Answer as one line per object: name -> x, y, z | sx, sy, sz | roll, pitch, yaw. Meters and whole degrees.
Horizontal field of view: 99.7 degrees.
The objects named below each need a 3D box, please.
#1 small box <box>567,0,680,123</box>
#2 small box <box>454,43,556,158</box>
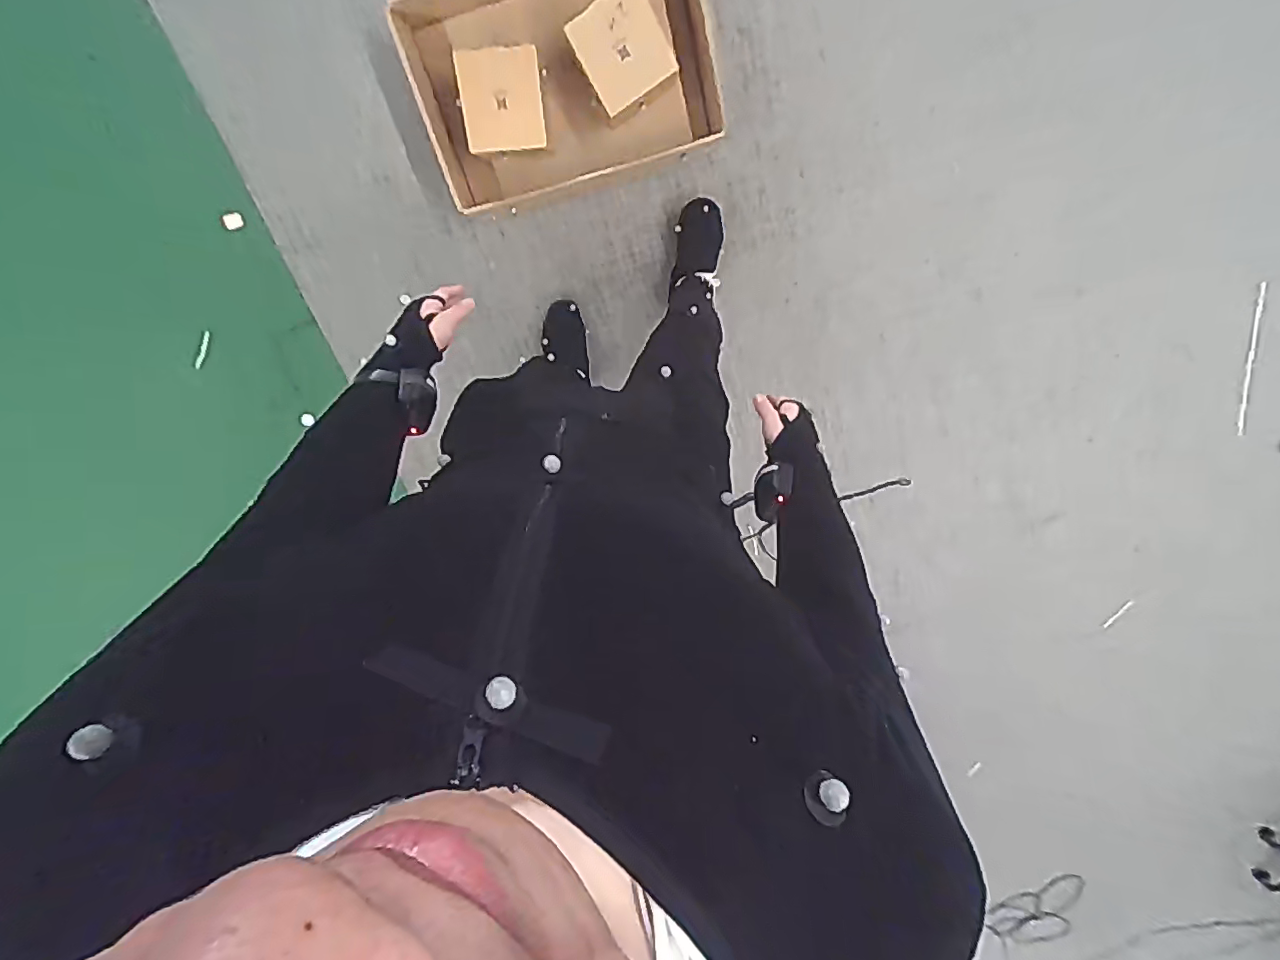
small box -> -0.031, -0.880, 1.128 | 0.168, 0.176, 0.179 | -28, 112, 12
small box -> -0.279, -0.801, 1.161 | 0.168, 0.176, 0.179 | -4, 114, 0
